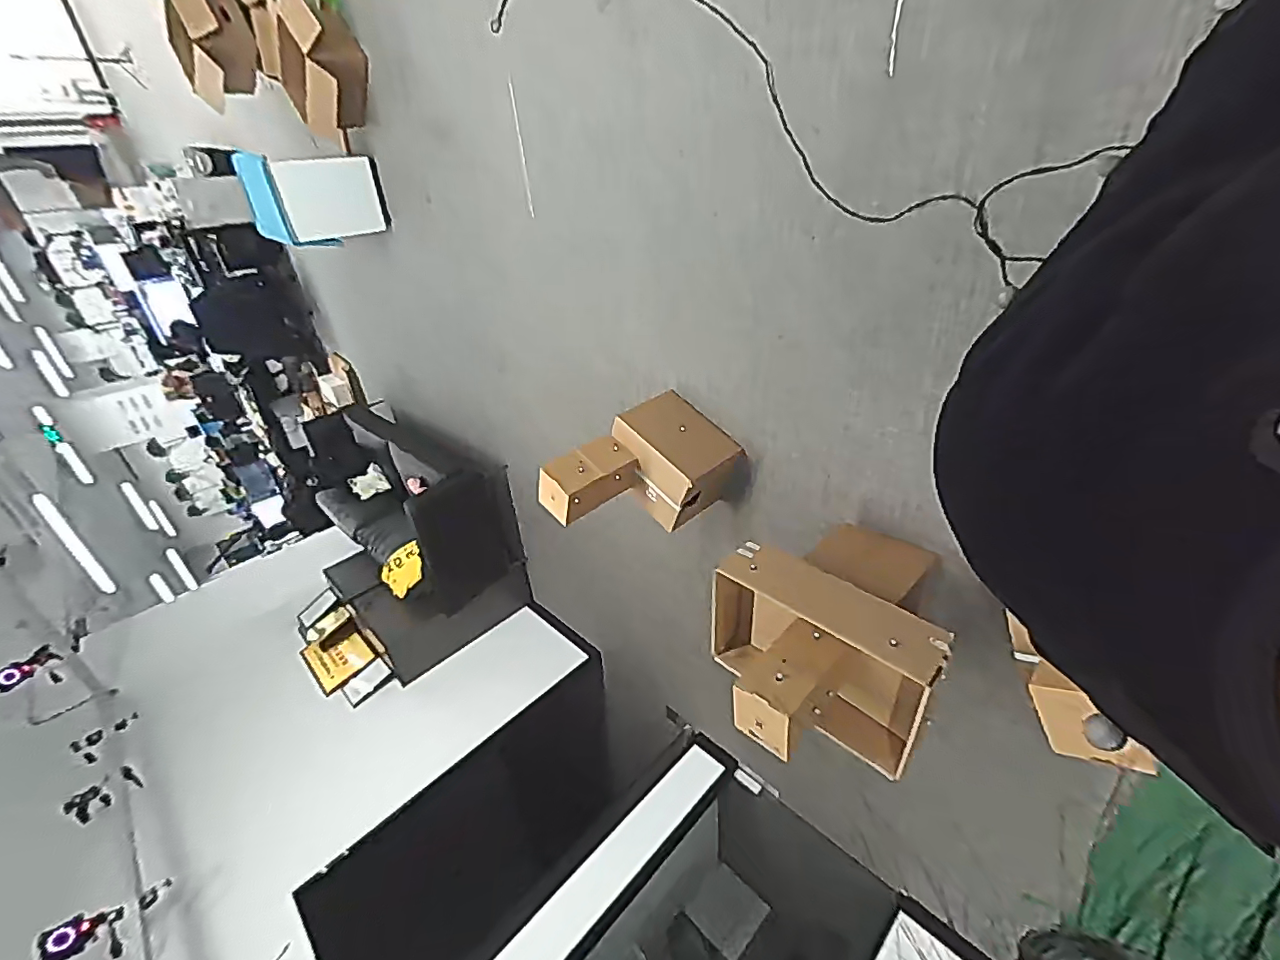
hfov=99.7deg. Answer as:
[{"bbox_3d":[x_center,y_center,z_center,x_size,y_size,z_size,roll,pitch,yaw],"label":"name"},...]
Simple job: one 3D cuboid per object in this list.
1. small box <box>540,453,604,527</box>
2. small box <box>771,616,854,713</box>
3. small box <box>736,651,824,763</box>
[{"bbox_3d":[-0.249,0.033,1.987,0.168,0.176,0.179,40,140,26],"label":"small box"},{"bbox_3d":[0.484,0.525,1.529,0.168,0.176,0.179,24,130,39],"label":"small box"},{"bbox_3d":[0.371,0.591,1.429,0.168,0.176,0.179,22,128,41],"label":"small box"}]
